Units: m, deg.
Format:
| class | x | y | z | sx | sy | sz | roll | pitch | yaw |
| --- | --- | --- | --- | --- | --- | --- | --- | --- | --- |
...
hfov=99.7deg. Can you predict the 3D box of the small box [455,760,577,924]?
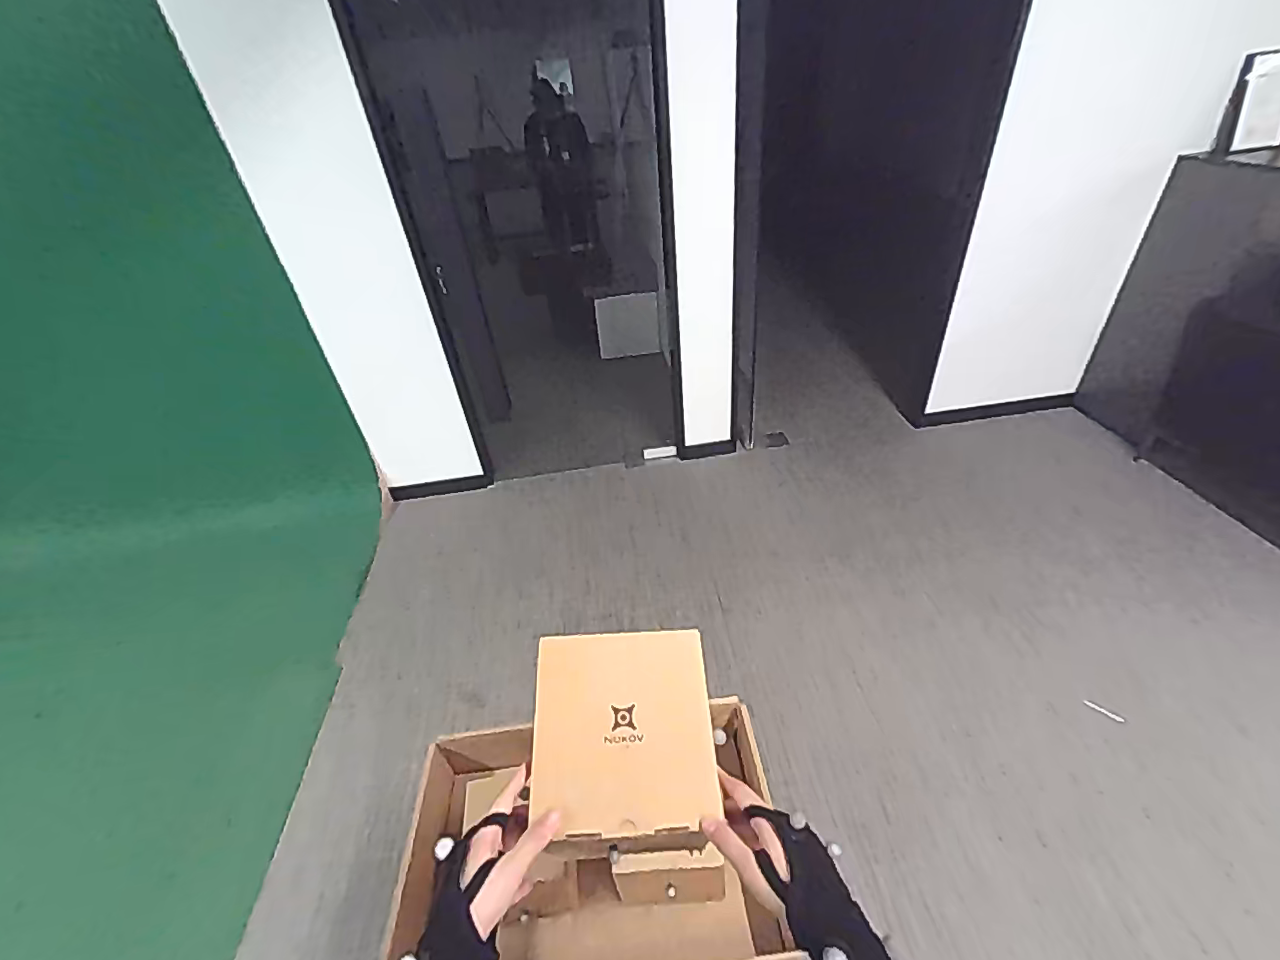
| class | x | y | z | sx | sy | sz | roll | pitch | yaw |
| --- | --- | --- | --- | --- | --- | --- | --- | --- | --- |
| small box | -0.204 | 0.621 | 0.931 | 0.168 | 0.176 | 0.179 | -9 | 37 | -4 |
